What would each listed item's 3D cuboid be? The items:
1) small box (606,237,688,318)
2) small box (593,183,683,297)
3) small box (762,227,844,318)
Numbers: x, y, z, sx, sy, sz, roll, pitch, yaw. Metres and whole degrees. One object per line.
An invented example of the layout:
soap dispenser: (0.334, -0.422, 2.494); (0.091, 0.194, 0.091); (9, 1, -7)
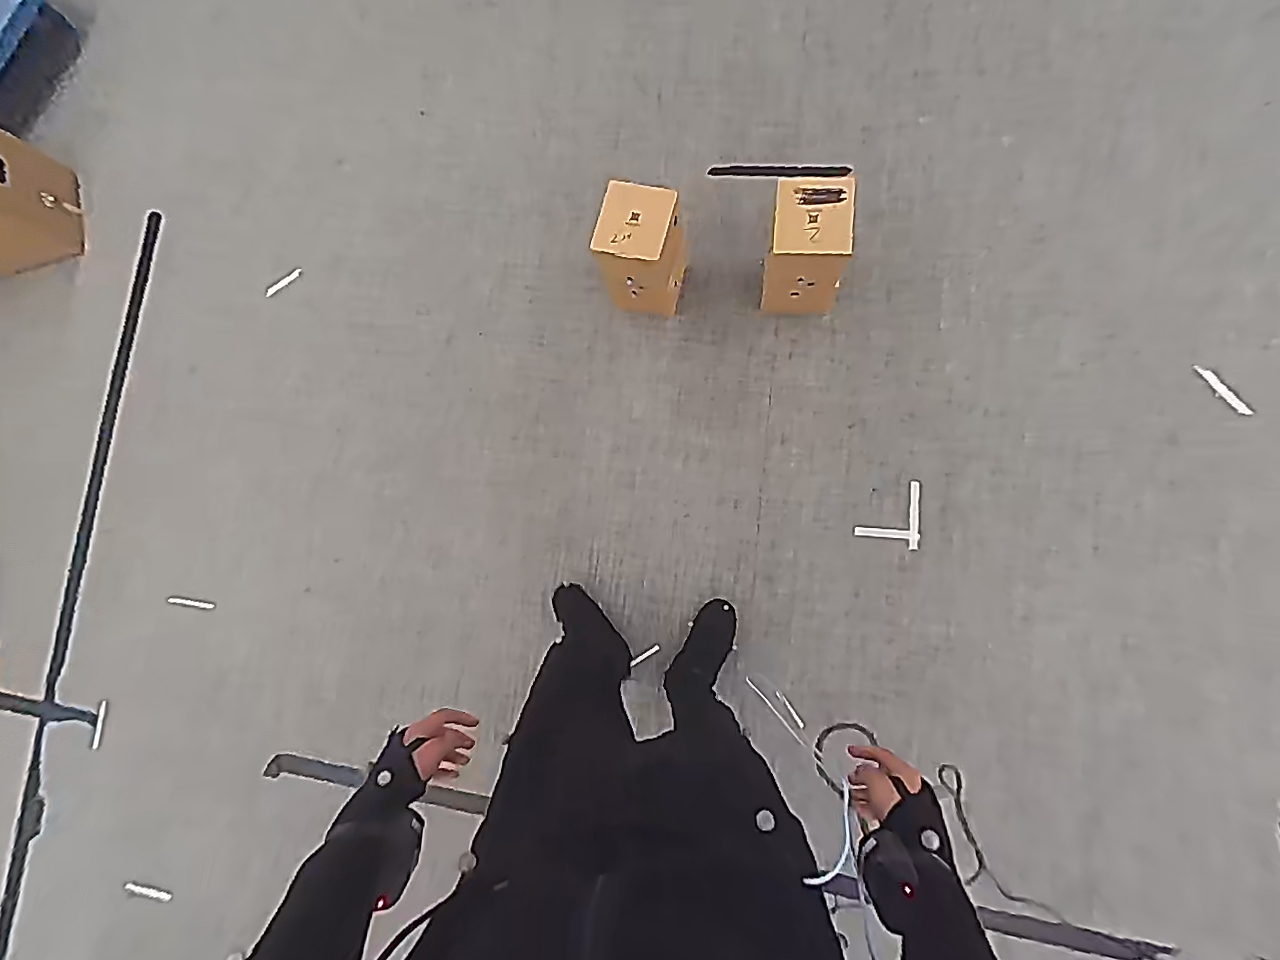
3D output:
small box: (0.026, -0.556, 1.466); (0.179, 0.176, 0.168); (14, 86, 10)
small box: (0.004, -0.571, 1.303); (0.168, 0.176, 0.179); (16, 86, 10)
small box: (0.417, -0.535, 1.409); (0.179, 0.176, 0.168); (5, 85, 7)
